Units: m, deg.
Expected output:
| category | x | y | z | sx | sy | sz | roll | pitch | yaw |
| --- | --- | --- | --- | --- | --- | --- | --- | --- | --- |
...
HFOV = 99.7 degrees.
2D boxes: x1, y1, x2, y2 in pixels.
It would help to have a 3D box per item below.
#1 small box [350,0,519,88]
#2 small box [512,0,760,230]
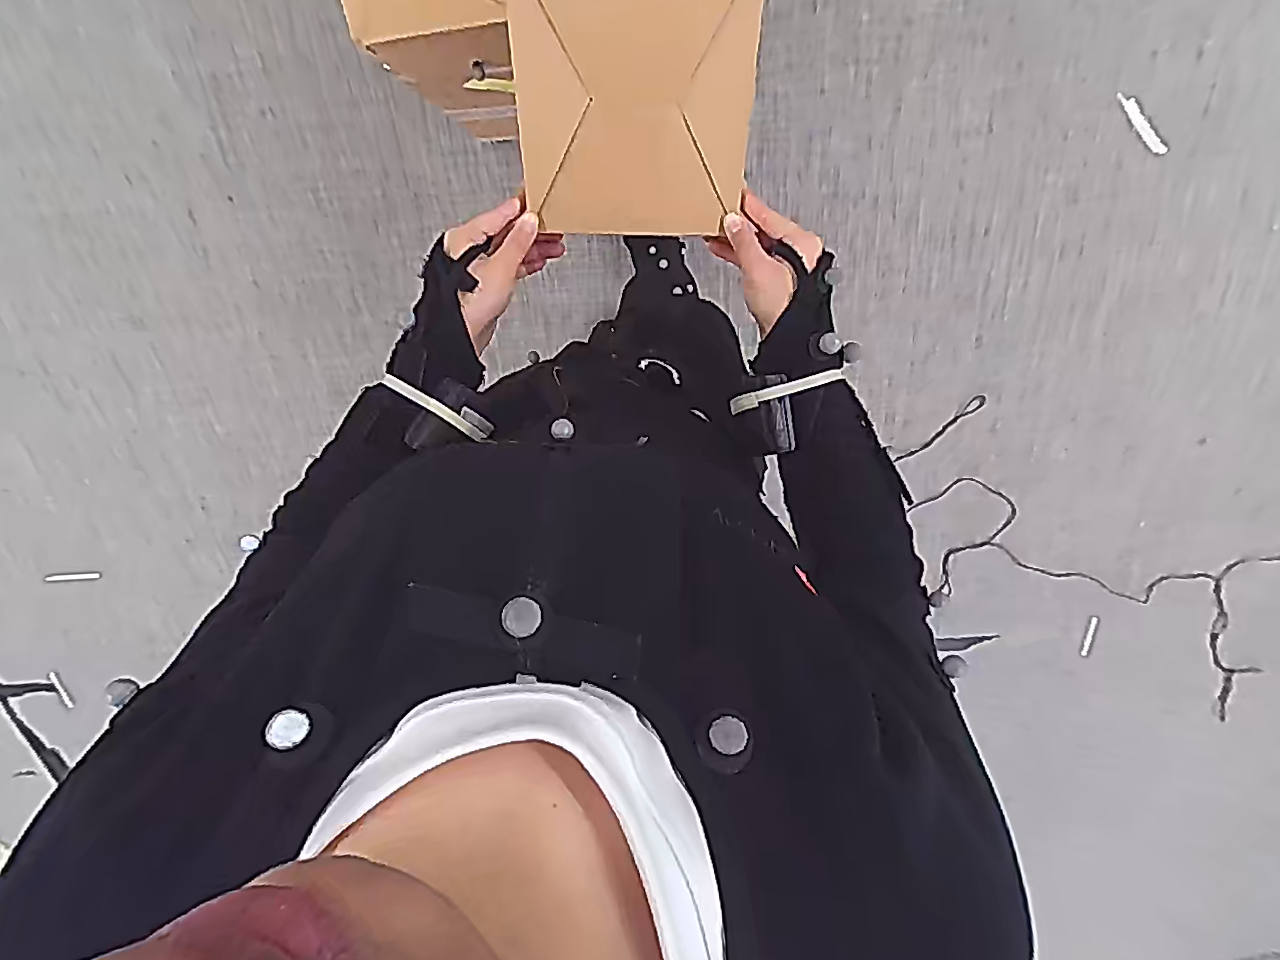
| category | x | y | z | sx | sy | sz | roll | pitch | yaw |
| --- | --- | --- | --- | --- | --- | --- | --- | --- | --- |
| small box | -0.213 | -0.551 | 0.581 | 0.179 | 0.176 | 0.168 | -7 | 115 | 3 |
| small box | -0.005 | -0.314 | 0.447 | 0.168 | 0.176 | 0.179 | 0 | 127 | -2 |
